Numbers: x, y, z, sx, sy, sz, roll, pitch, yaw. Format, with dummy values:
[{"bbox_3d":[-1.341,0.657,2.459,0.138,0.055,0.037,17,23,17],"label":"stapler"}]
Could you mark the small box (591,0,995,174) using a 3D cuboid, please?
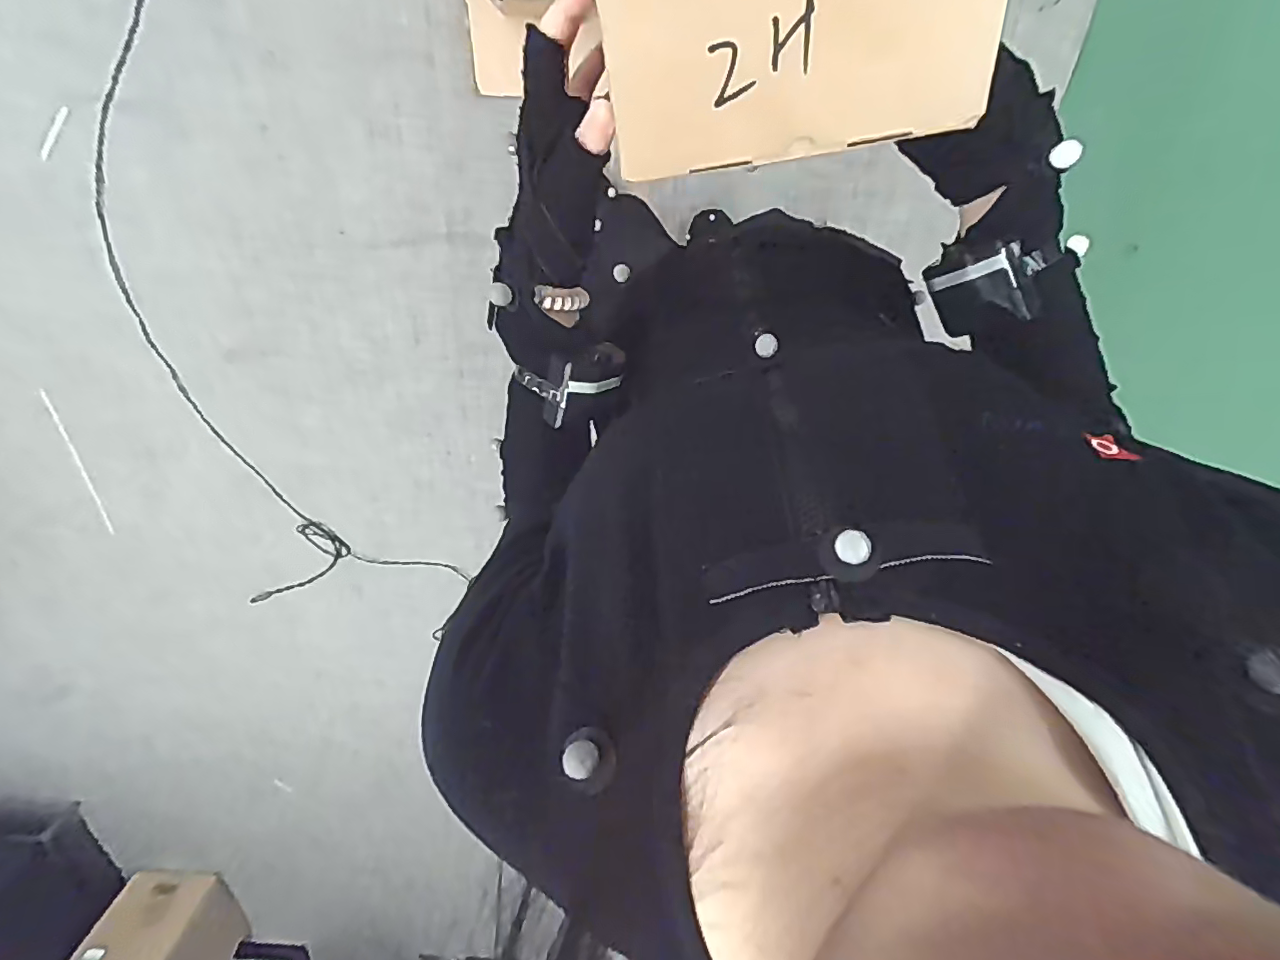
[{"bbox_3d":[0.055,-0.269,0.264,0.168,0.176,0.179,-8,127,4],"label":"small box"}]
